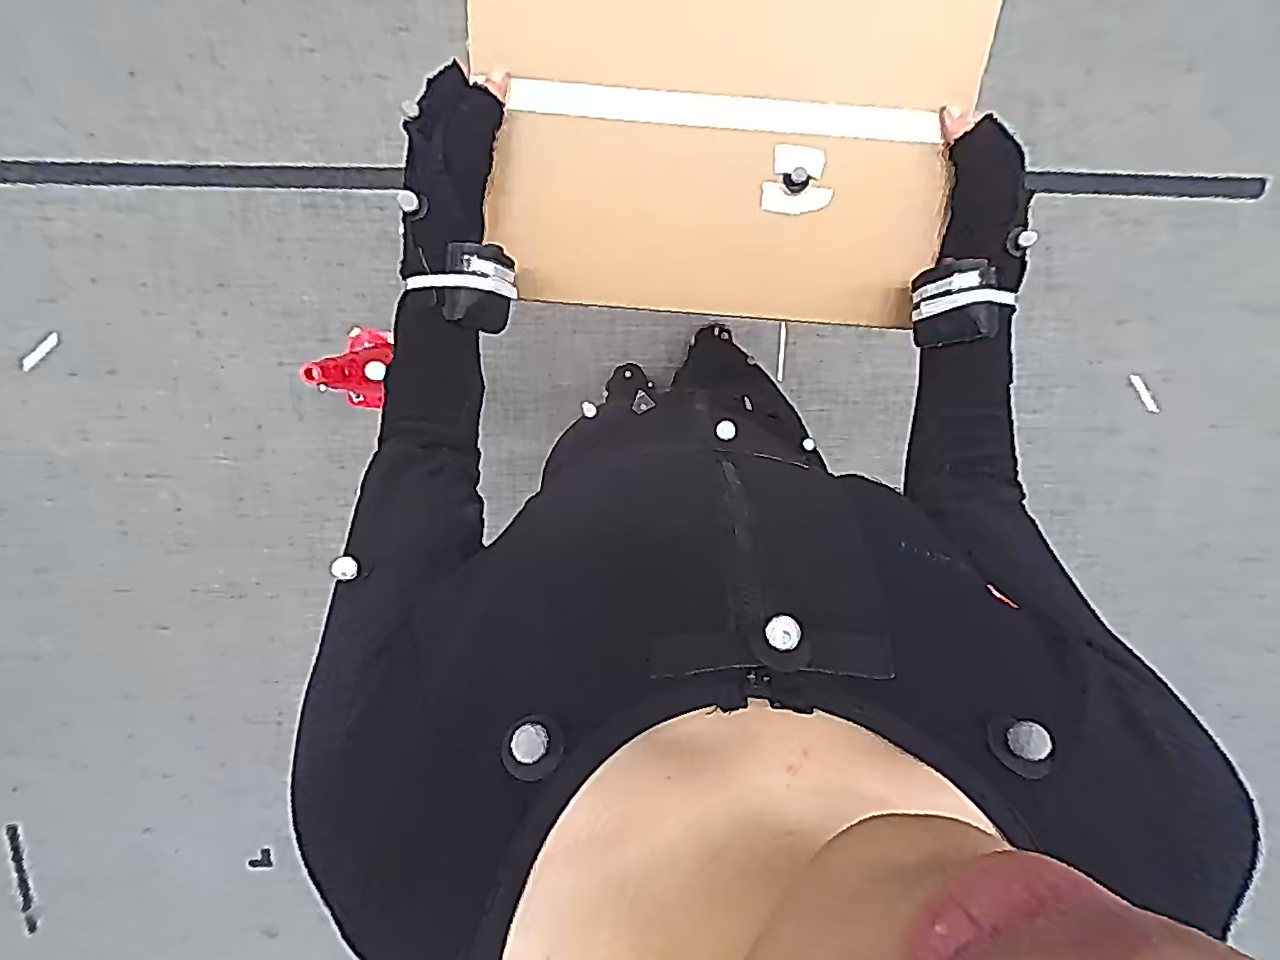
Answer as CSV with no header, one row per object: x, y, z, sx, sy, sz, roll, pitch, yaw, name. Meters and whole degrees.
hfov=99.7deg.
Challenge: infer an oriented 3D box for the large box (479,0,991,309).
0.066,-0.362,0.579,0.408,0.320,0.320,3,112,-2,large box
